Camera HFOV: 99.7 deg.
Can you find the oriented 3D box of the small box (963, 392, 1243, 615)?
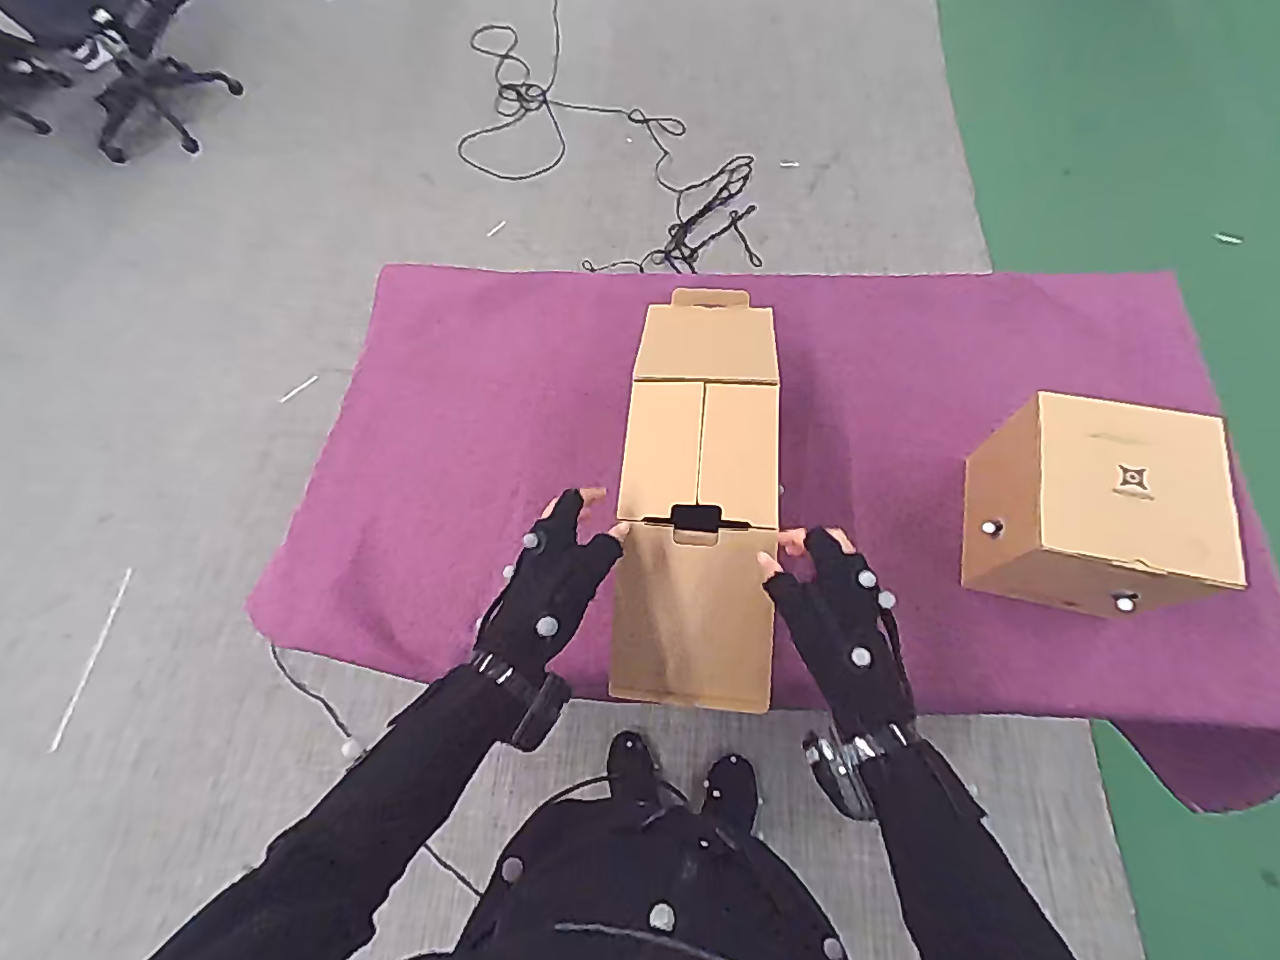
[{"bbox_3d":[0.474,0.034,0.585,0.168,0.176,0.179,12,68,11],"label":"small box"}]
